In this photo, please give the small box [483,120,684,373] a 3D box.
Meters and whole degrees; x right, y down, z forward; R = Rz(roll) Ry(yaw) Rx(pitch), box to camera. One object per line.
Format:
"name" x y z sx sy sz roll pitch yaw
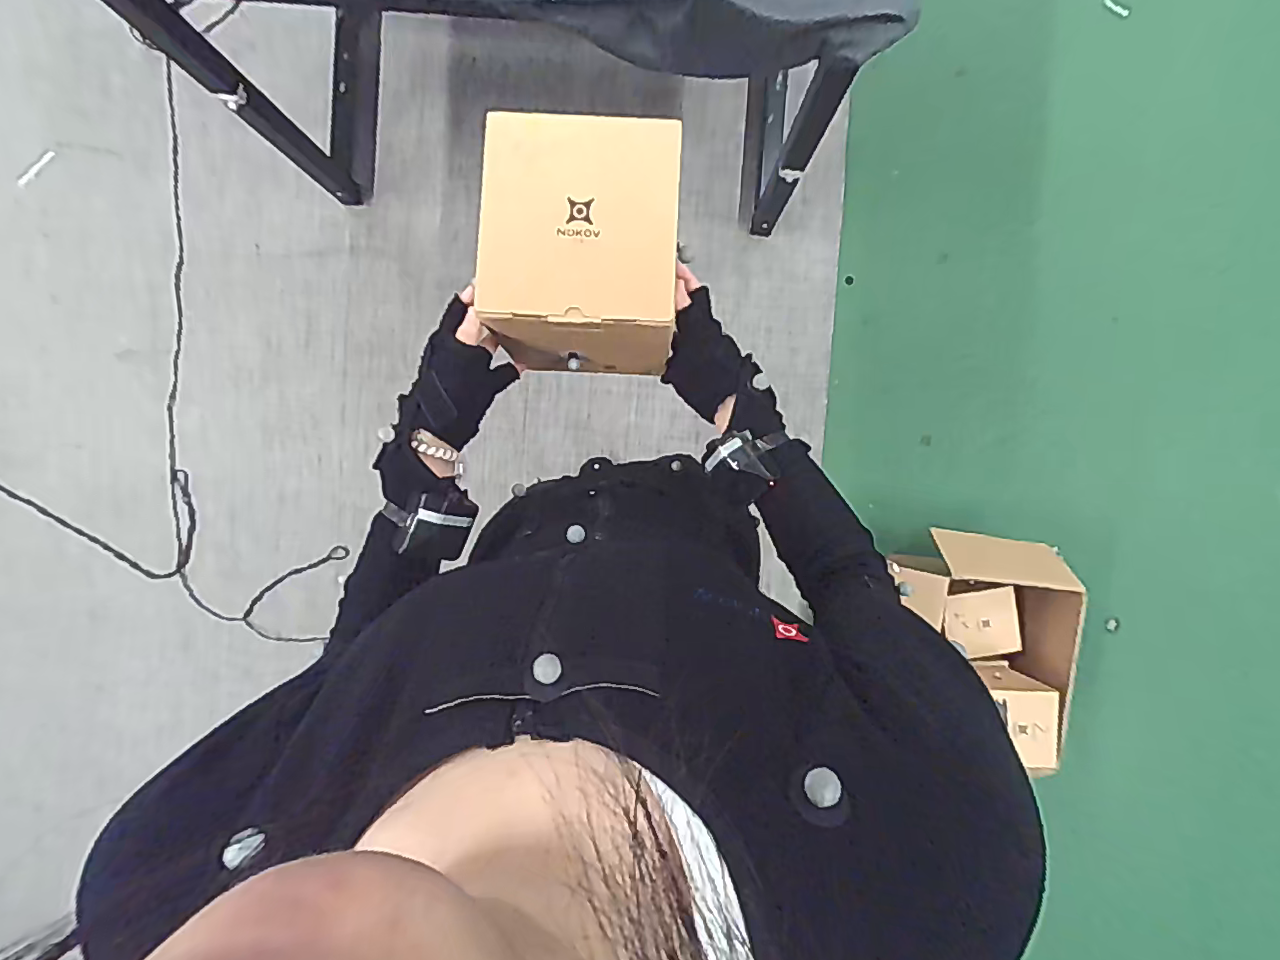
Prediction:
"small box" -0.049 -0.217 0.543 0.168 0.176 0.179 3 88 0
